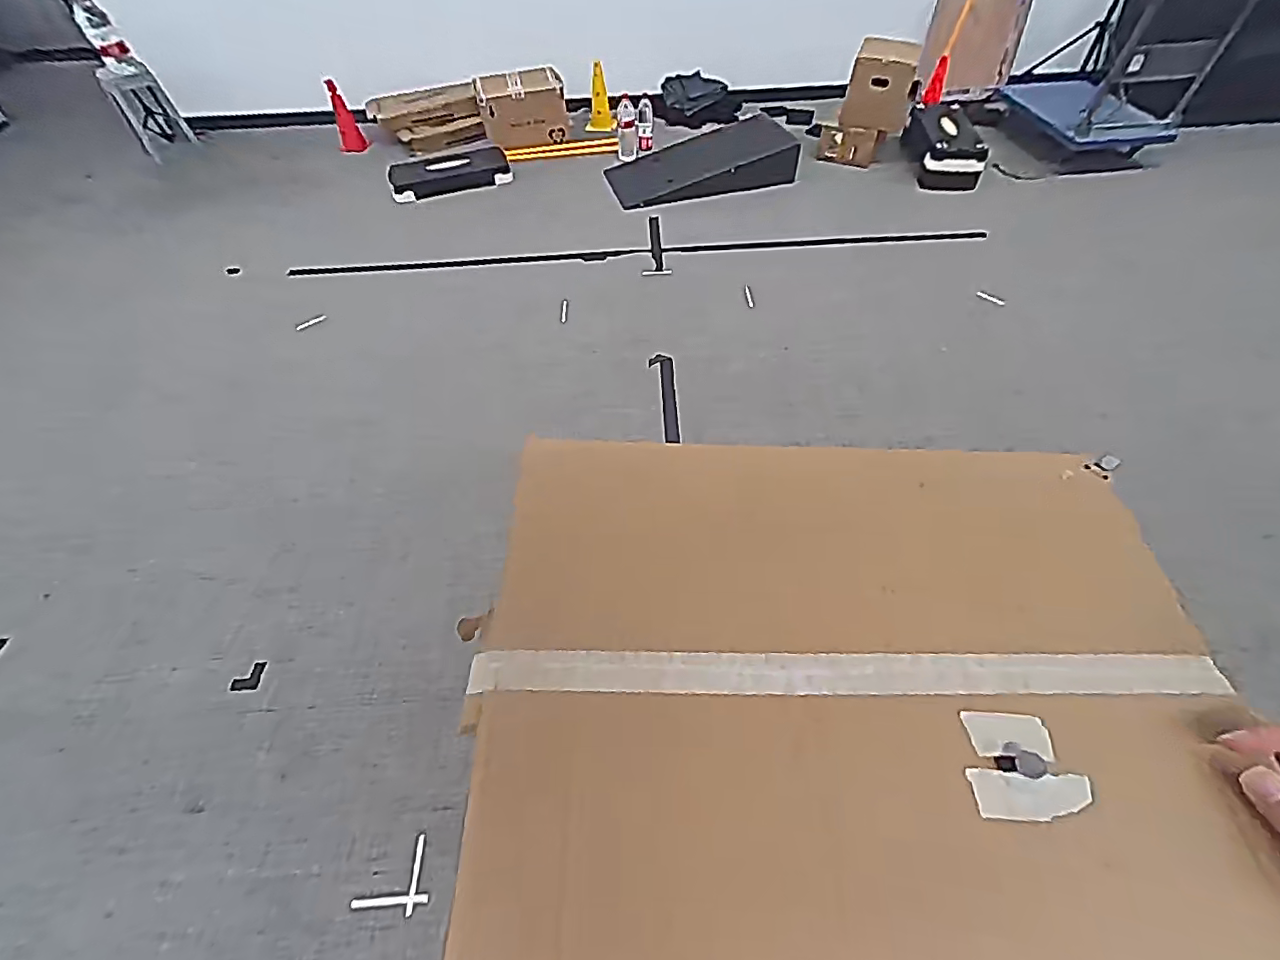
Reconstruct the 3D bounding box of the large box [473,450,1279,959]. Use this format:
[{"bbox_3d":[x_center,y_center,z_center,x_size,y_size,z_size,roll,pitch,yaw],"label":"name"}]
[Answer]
[{"bbox_3d":[0.114,0.193,0.430,0.408,0.320,0.320,2,56,-3],"label":"large box"}]
